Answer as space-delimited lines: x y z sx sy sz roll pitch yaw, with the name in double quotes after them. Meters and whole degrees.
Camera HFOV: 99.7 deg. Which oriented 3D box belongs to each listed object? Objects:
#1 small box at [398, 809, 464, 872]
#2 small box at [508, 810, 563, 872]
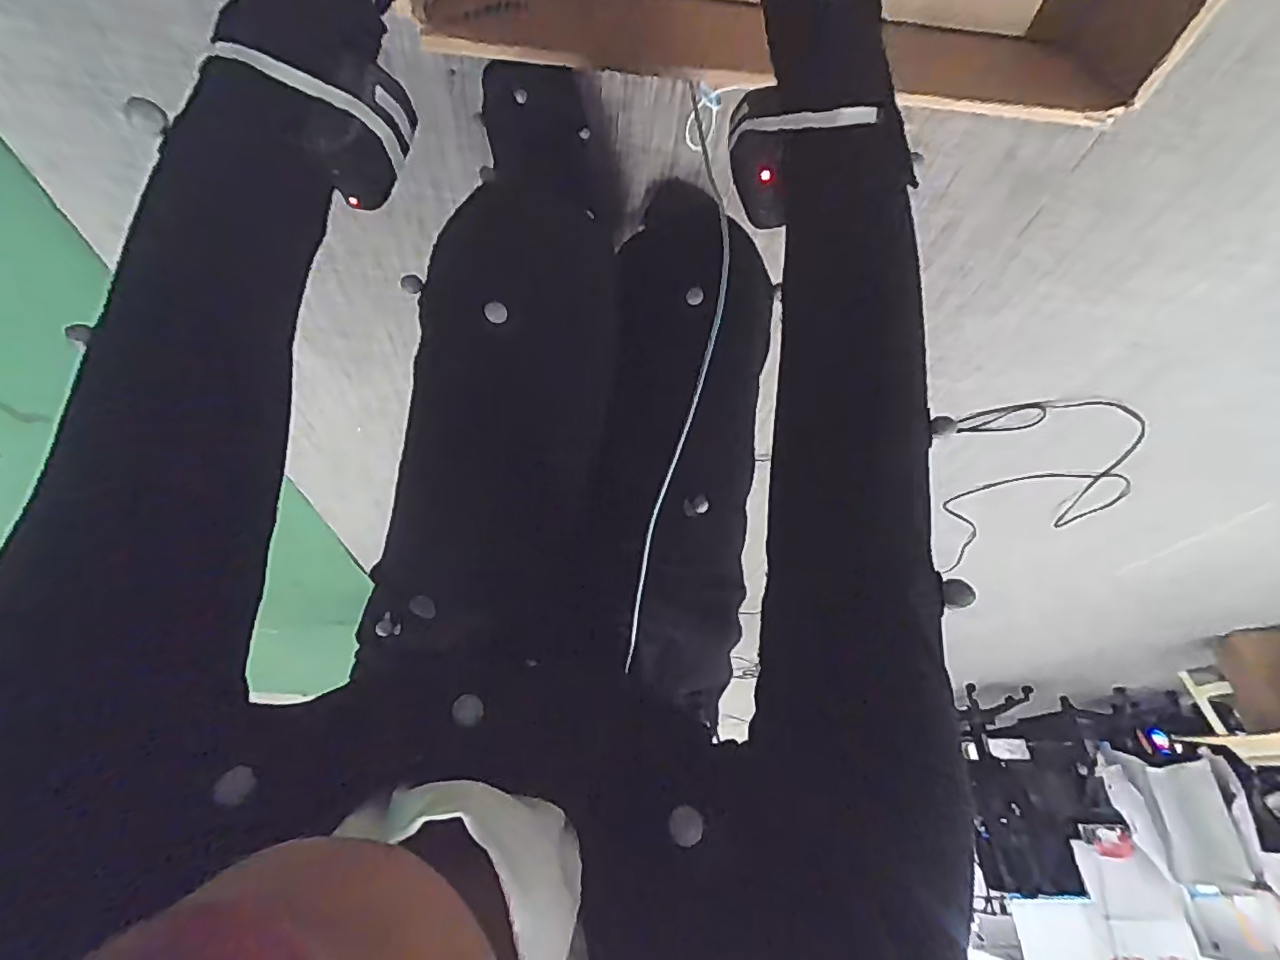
-0.696 1.206 1.816 0.168 0.176 0.179 9 148 -10 "small box"
-0.356 1.232 1.852 0.168 0.176 0.179 7 148 -9 "small box"
